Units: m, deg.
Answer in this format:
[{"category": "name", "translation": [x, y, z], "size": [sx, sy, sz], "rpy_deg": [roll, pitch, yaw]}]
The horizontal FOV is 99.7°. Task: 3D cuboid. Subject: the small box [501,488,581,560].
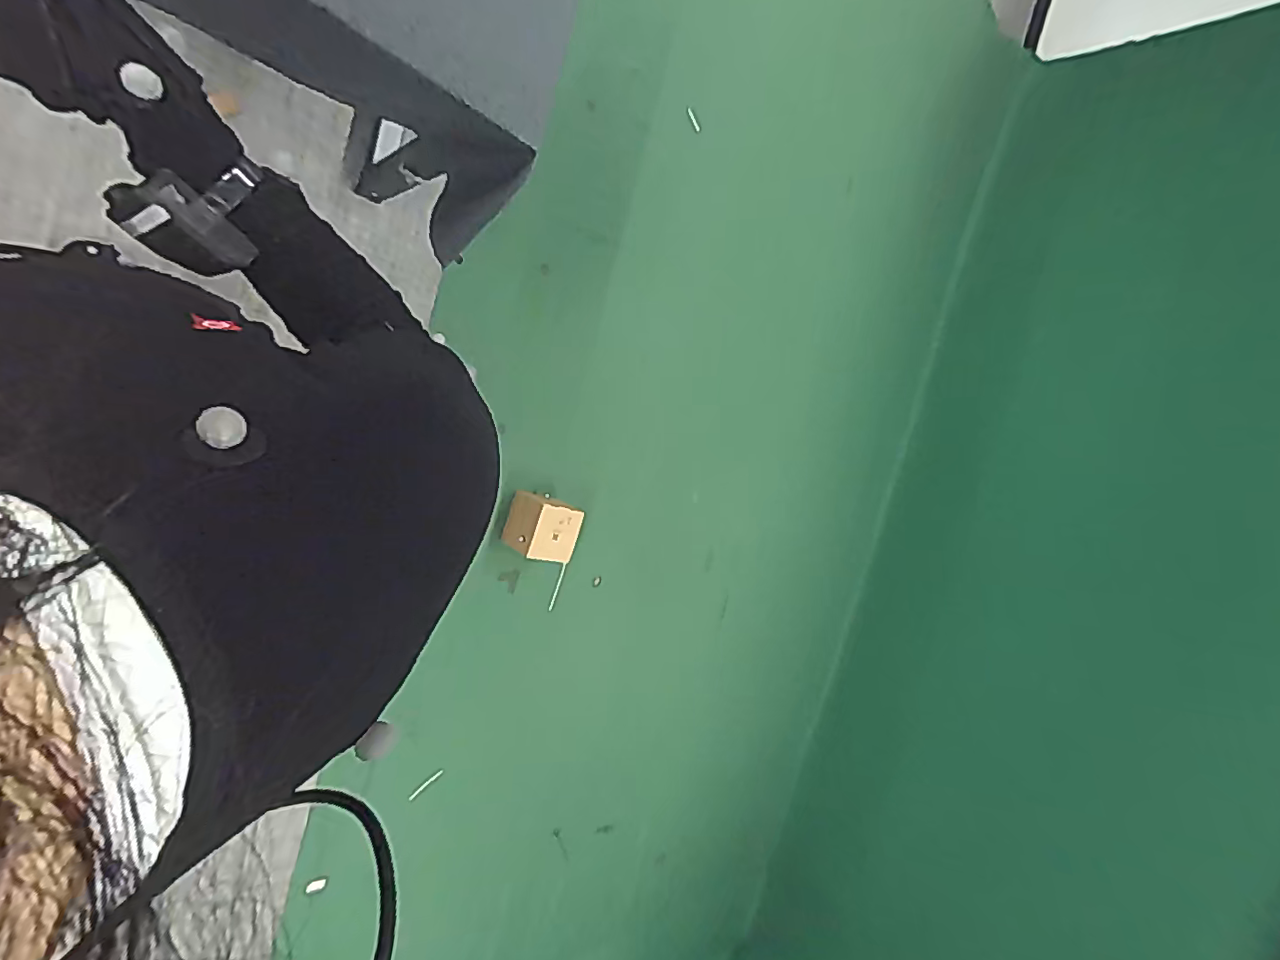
[{"category": "small box", "translation": [-0.323, 0.140, 1.733], "size": [0.168, 0.176, 0.179], "rpy_deg": [17, 92, -45]}]
